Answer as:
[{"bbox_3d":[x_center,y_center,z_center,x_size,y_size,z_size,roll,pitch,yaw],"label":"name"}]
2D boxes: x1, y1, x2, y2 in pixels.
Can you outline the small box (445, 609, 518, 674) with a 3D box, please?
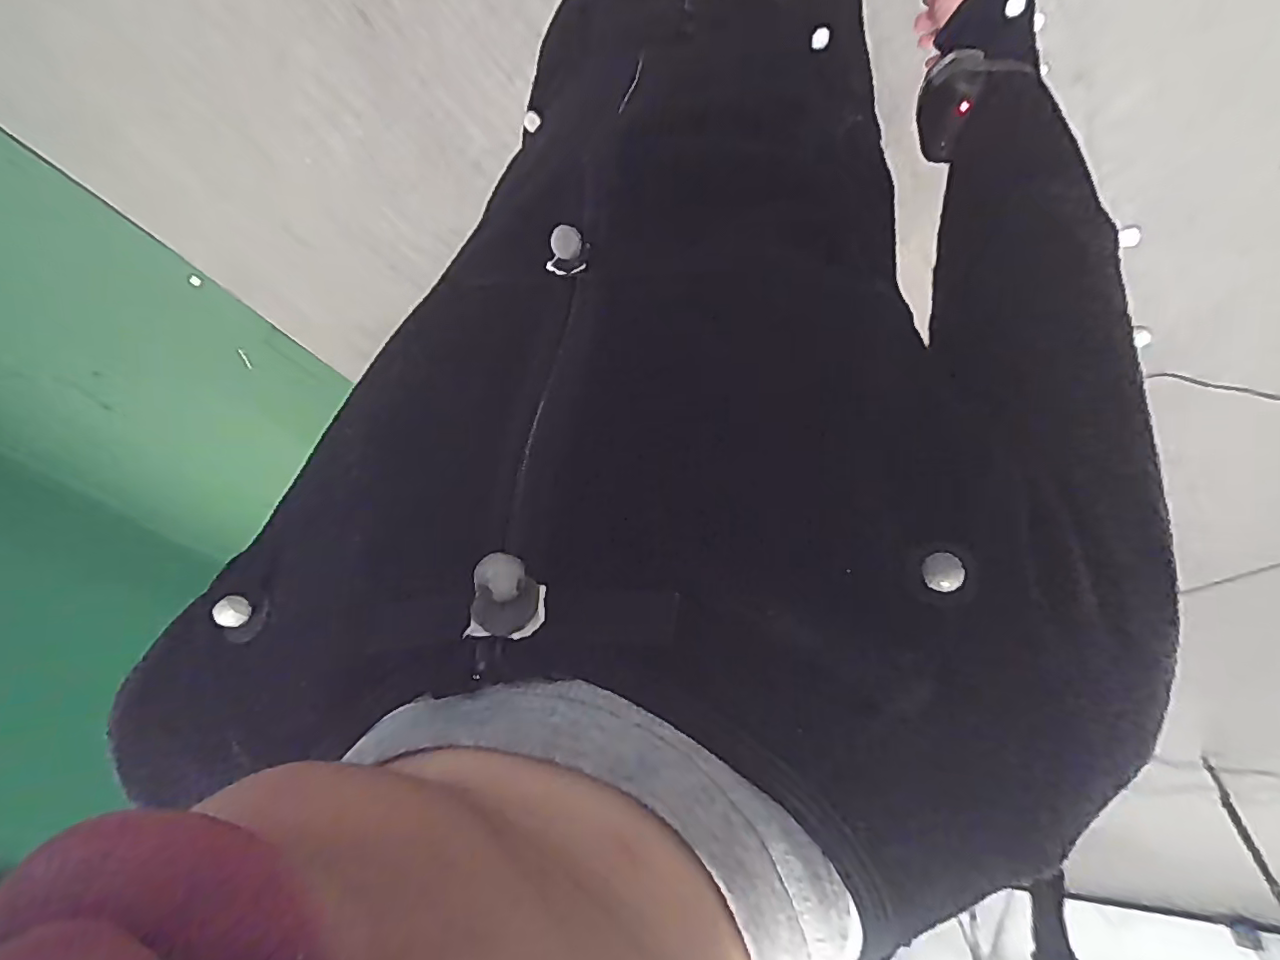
[{"bbox_3d":[-0.577,0.596,1.993,0.179,0.176,0.168,-24,128,41],"label":"small box"}]
